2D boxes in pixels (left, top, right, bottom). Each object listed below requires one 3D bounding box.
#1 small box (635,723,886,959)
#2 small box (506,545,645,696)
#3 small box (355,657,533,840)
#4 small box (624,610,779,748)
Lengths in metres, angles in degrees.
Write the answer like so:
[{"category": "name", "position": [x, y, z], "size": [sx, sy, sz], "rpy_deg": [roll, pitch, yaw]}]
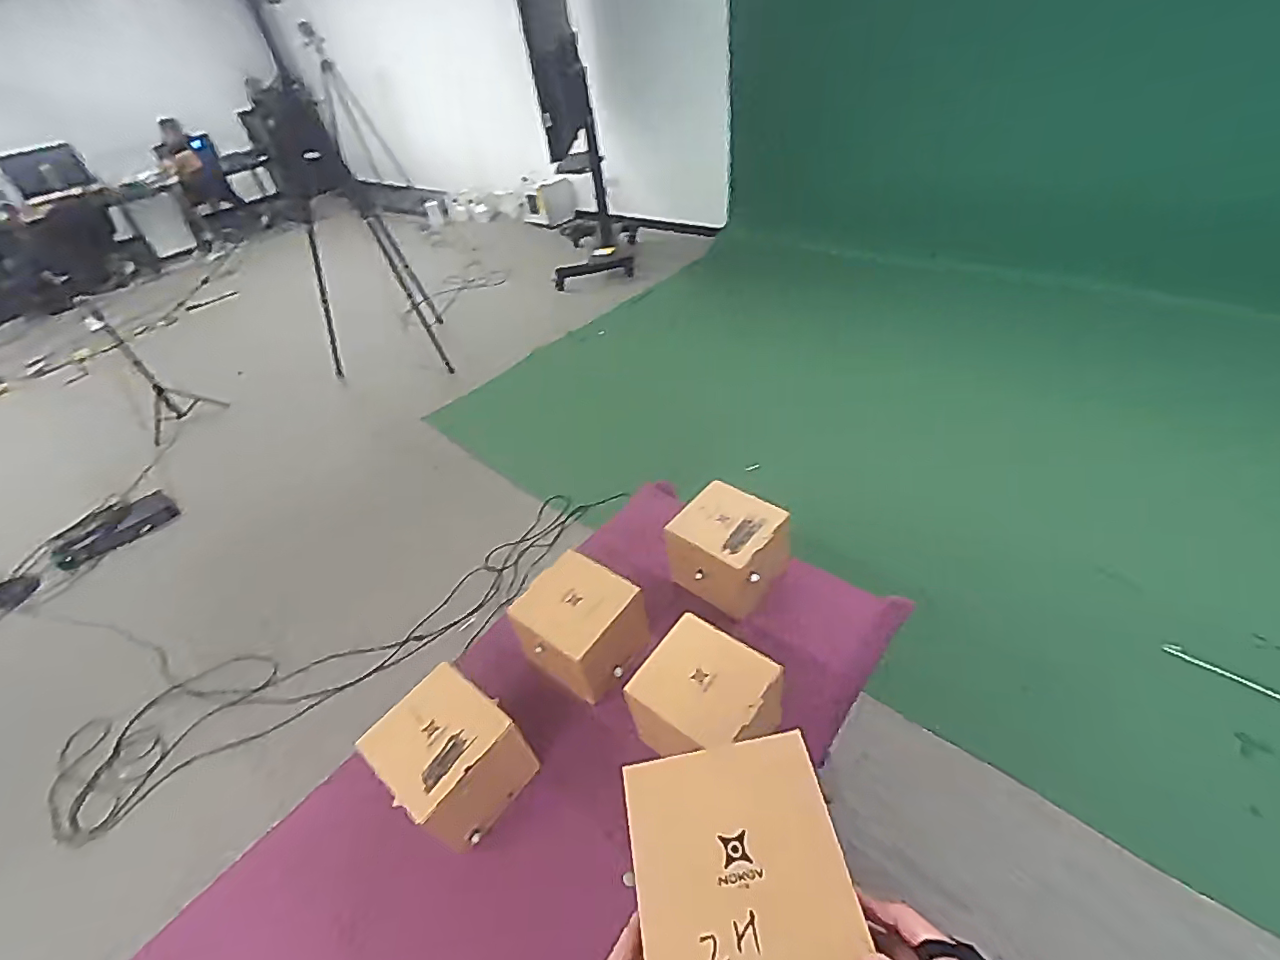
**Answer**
[{"category": "small box", "position": [0.094, 0.349, 0.487], "size": [0.168, 0.176, 0.179], "rpy_deg": [-11, 46, 2]}, {"category": "small box", "position": [-0.110, 0.258, 0.987], "size": [0.179, 0.176, 0.168], "rpy_deg": [25, 53, 30]}, {"category": "small box", "position": [-0.292, 0.419, 0.839], "size": [0.179, 0.176, 0.168], "rpy_deg": [25, 52, 32]}, {"category": "small box", "position": [0.099, 0.347, 0.853], "size": [0.179, 0.176, 0.168], "rpy_deg": [25, 52, 32]}]
